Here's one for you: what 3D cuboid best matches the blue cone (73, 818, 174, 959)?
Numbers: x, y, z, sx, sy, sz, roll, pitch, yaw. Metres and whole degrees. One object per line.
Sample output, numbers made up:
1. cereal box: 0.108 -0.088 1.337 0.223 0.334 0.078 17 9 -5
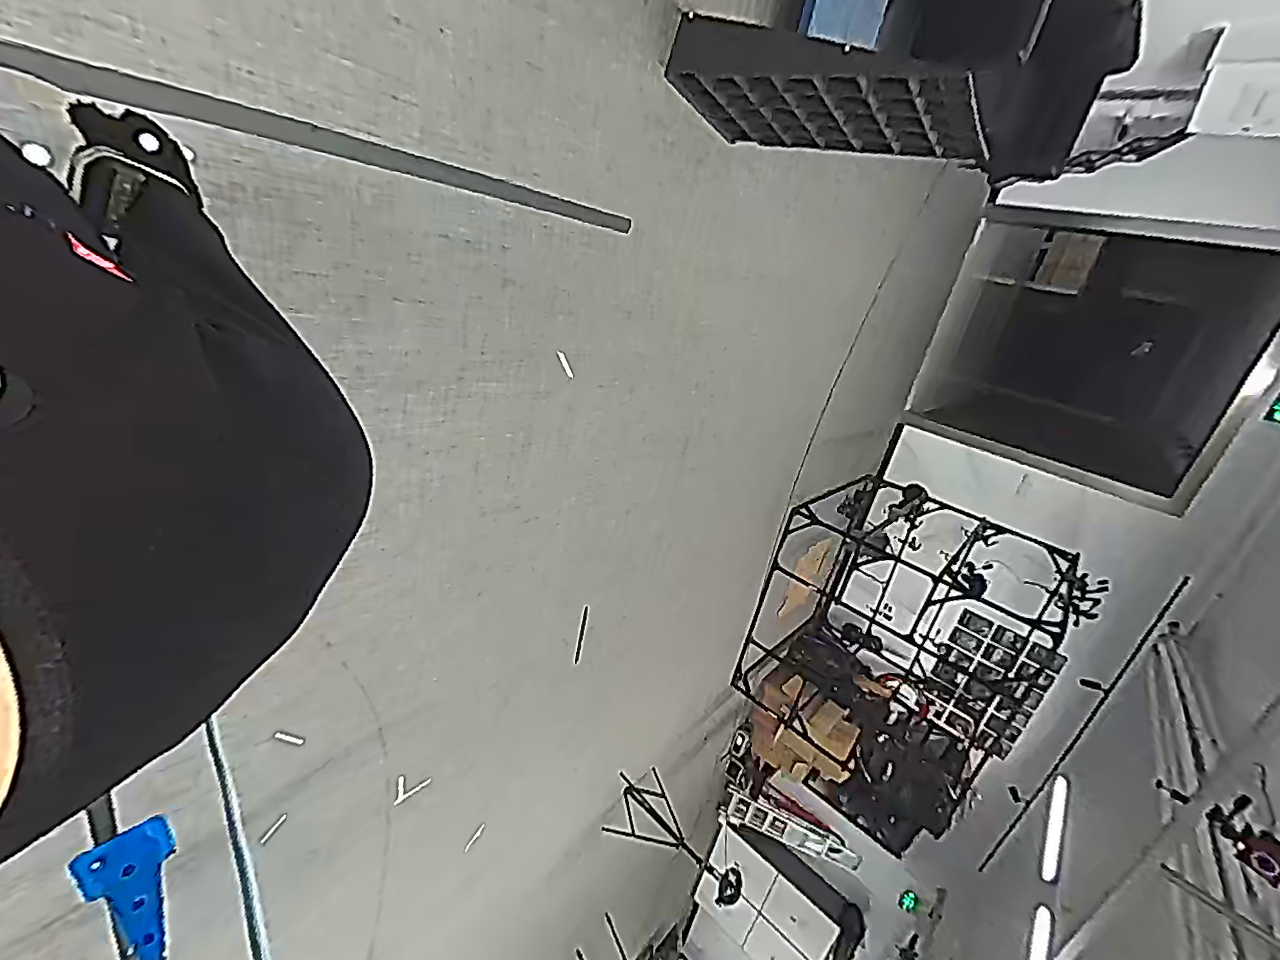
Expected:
1. blue cone: -1.334 1.134 1.442 0.192 0.380 0.193 -19 129 -48
